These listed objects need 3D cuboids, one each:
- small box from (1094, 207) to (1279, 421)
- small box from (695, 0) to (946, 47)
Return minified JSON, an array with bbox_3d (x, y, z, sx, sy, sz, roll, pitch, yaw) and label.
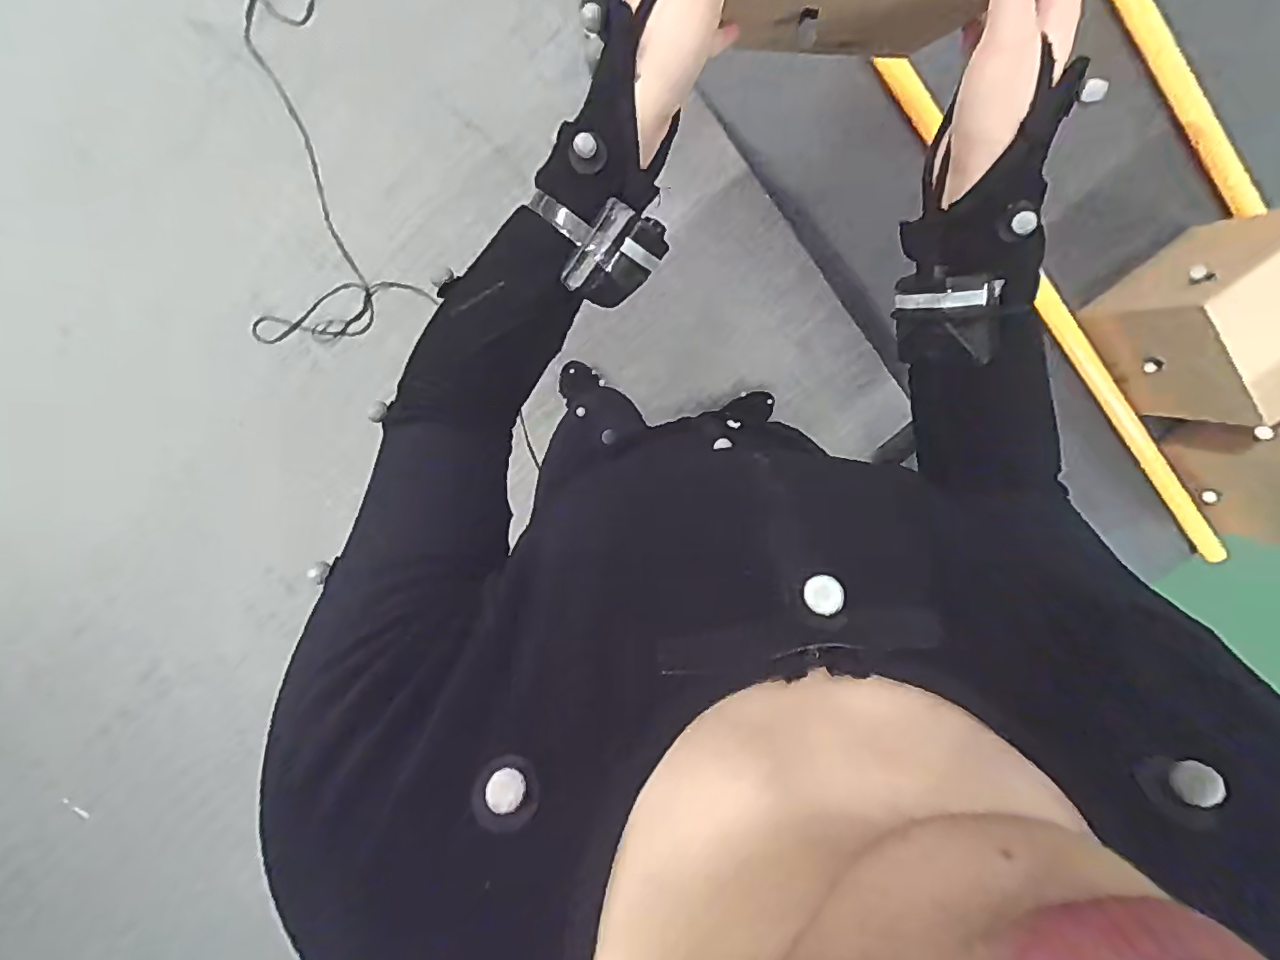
[{"bbox_3d":[0.688,-0.191,0.629,0.179,0.176,0.168,-38,101,7],"label":"small box"},{"bbox_3d":[0.121,-0.382,0.317,0.168,0.176,0.179,4,116,2],"label":"small box"}]
